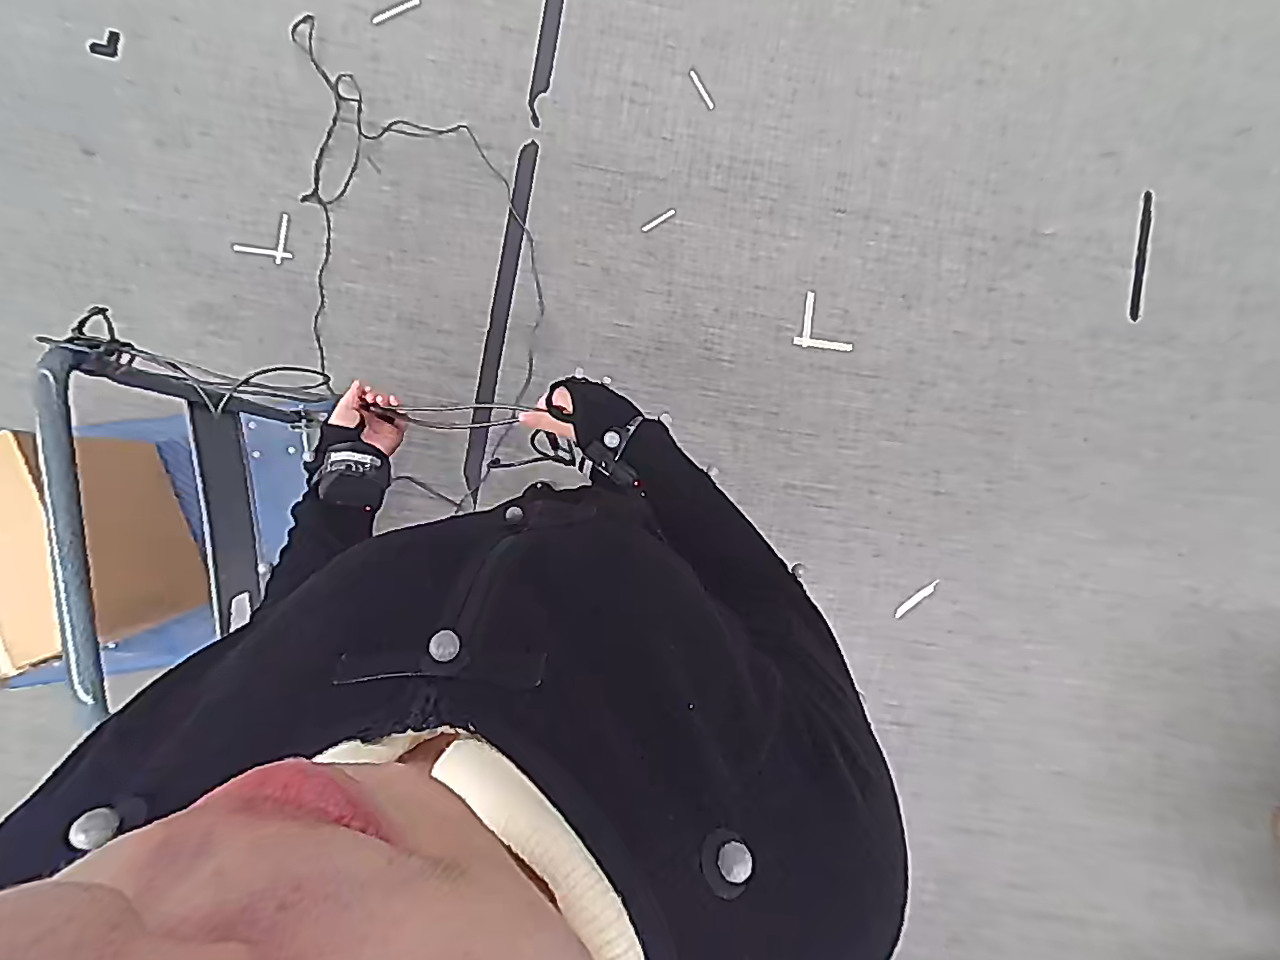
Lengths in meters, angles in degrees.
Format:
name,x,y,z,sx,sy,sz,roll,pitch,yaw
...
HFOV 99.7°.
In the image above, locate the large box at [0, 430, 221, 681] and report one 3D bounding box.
name,x,y,z,sx,sy,sz,roll,pitch,yaw
large box,-1.183,0.148,1.109,0.320,0.320,0.408,-22,91,-4
